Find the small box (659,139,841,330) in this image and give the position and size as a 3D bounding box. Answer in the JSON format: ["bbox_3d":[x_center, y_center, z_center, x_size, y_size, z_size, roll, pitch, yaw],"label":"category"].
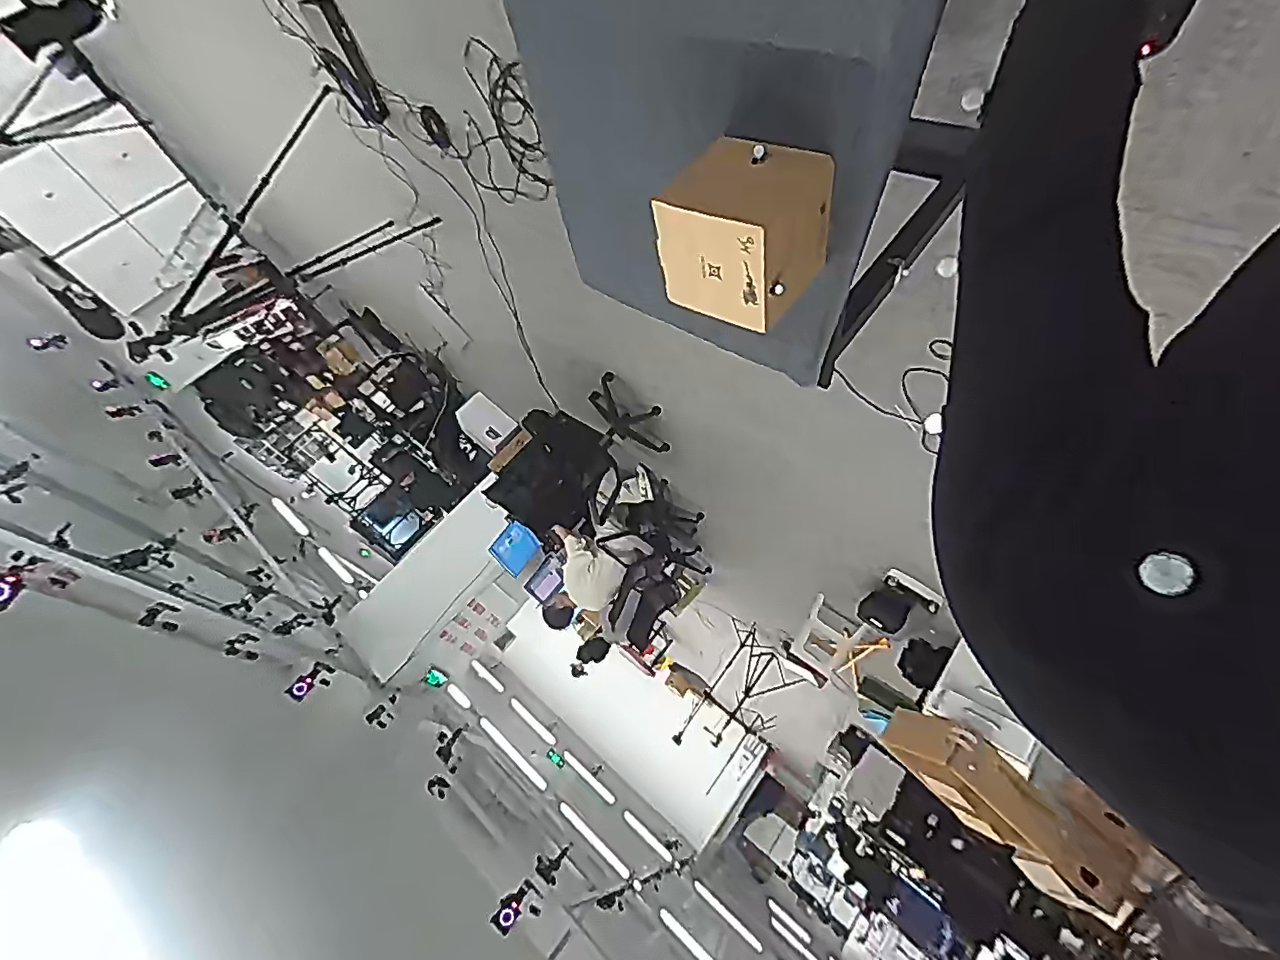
[{"bbox_3d":[0.154,-0.350,0.764,0.179,0.176,0.168,31,159,28],"label":"small box"}]
